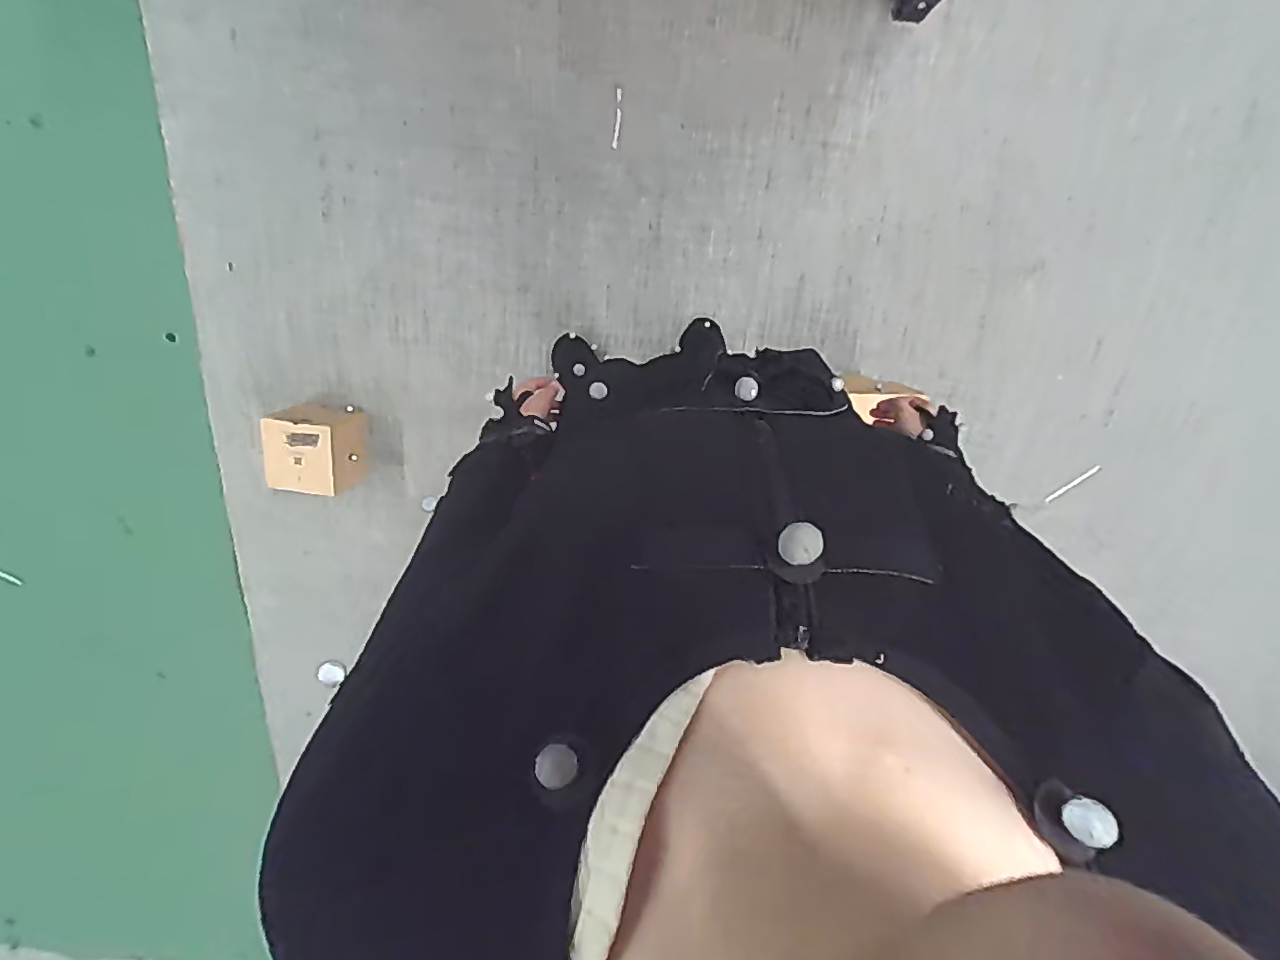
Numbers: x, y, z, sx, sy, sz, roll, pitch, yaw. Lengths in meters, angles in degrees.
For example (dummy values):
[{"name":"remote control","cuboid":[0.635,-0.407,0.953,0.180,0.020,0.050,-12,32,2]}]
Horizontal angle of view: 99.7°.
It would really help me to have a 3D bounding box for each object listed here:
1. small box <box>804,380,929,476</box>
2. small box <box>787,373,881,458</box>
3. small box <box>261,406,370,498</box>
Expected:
[{"name":"small box","cuboid":[0.446,-0.110,1.092,0.179,0.176,0.168,0,108,2]},{"name":"small box","cuboid":[0.445,-0.153,1.250,0.168,0.176,0.179,1,108,2]},{"name":"small box","cuboid":[-0.783,-0.075,1.321,0.168,0.176,0.179,8,110,0]}]
